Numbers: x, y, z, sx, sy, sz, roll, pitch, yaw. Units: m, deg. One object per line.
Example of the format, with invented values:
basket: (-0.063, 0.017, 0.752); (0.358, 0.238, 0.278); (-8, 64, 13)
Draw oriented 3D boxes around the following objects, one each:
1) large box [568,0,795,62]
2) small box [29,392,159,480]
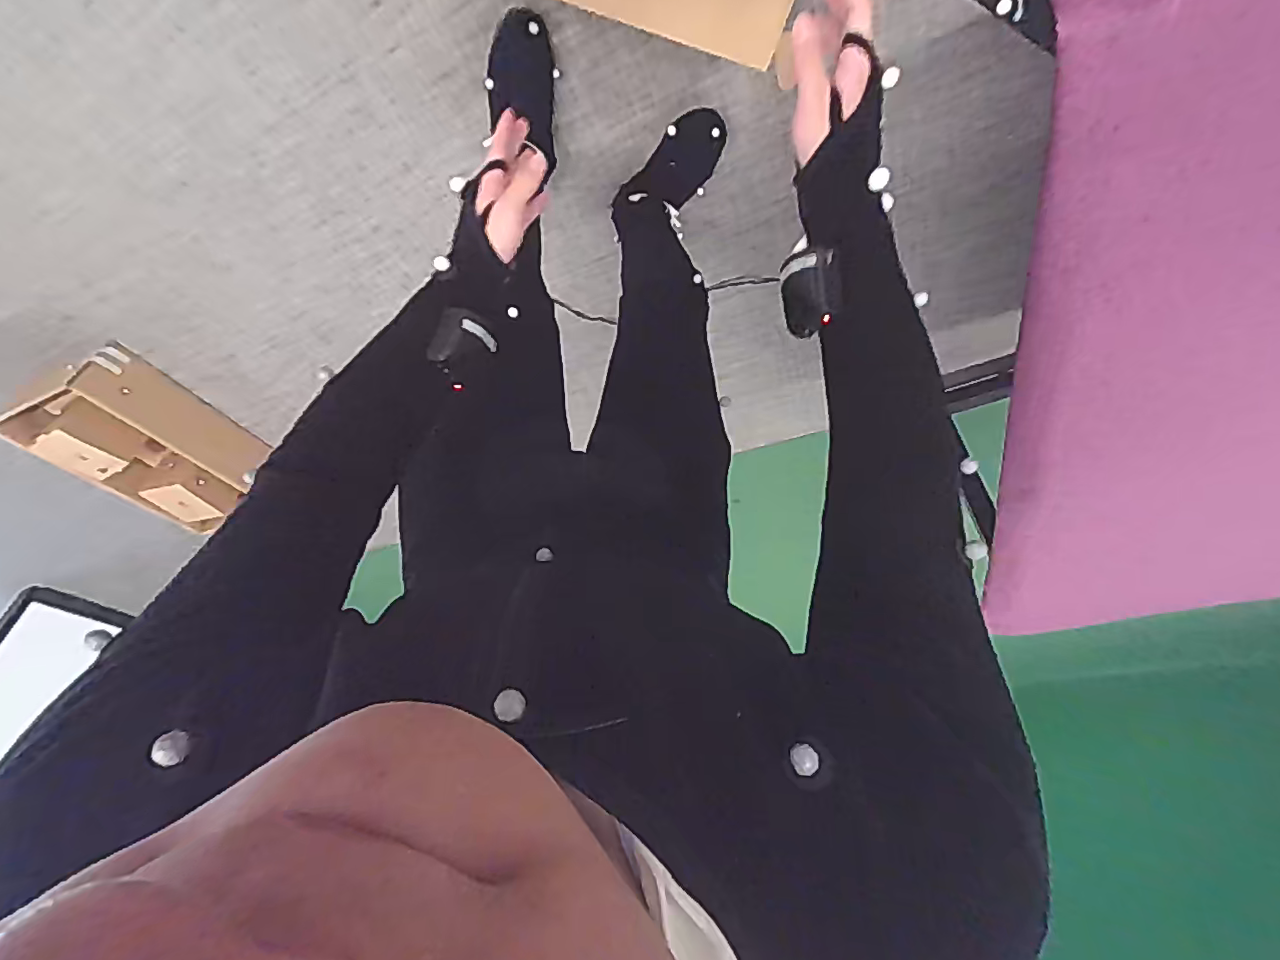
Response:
large box: (0.020, -0.796, 0.660); (0.408, 0.320, 0.320); (9, 143, -13)
small box: (-1.569, -0.133, 1.564); (0.168, 0.176, 0.179); (-18, 139, 21)
